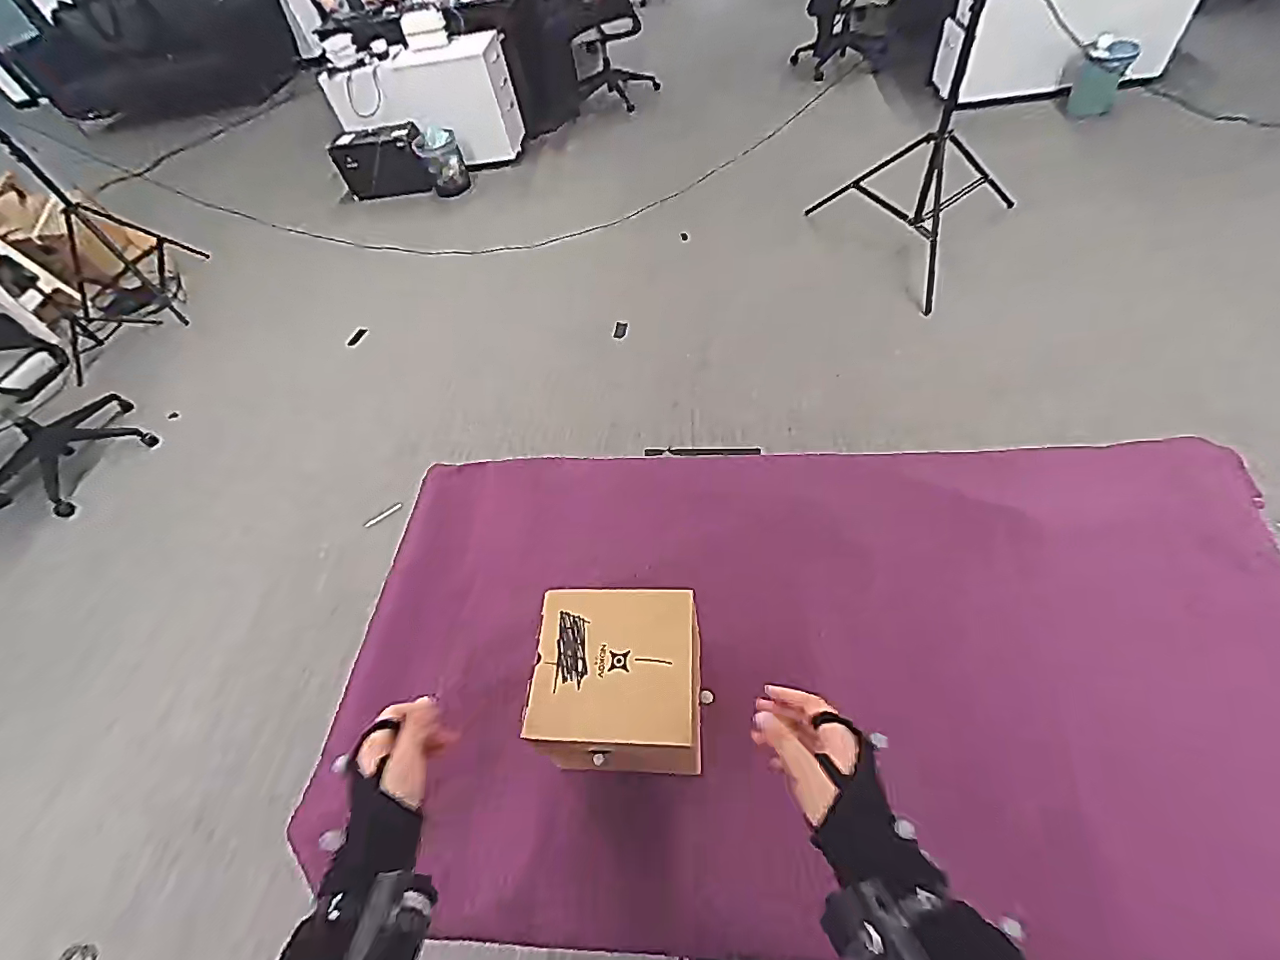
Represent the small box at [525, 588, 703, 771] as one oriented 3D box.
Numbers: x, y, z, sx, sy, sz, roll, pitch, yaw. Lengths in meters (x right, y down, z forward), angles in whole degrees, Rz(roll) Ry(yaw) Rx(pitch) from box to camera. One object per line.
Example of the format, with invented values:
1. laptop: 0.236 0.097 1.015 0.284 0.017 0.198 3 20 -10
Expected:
1. small box: -0.017 0.241 0.646 0.179 0.176 0.168 -2 54 8
